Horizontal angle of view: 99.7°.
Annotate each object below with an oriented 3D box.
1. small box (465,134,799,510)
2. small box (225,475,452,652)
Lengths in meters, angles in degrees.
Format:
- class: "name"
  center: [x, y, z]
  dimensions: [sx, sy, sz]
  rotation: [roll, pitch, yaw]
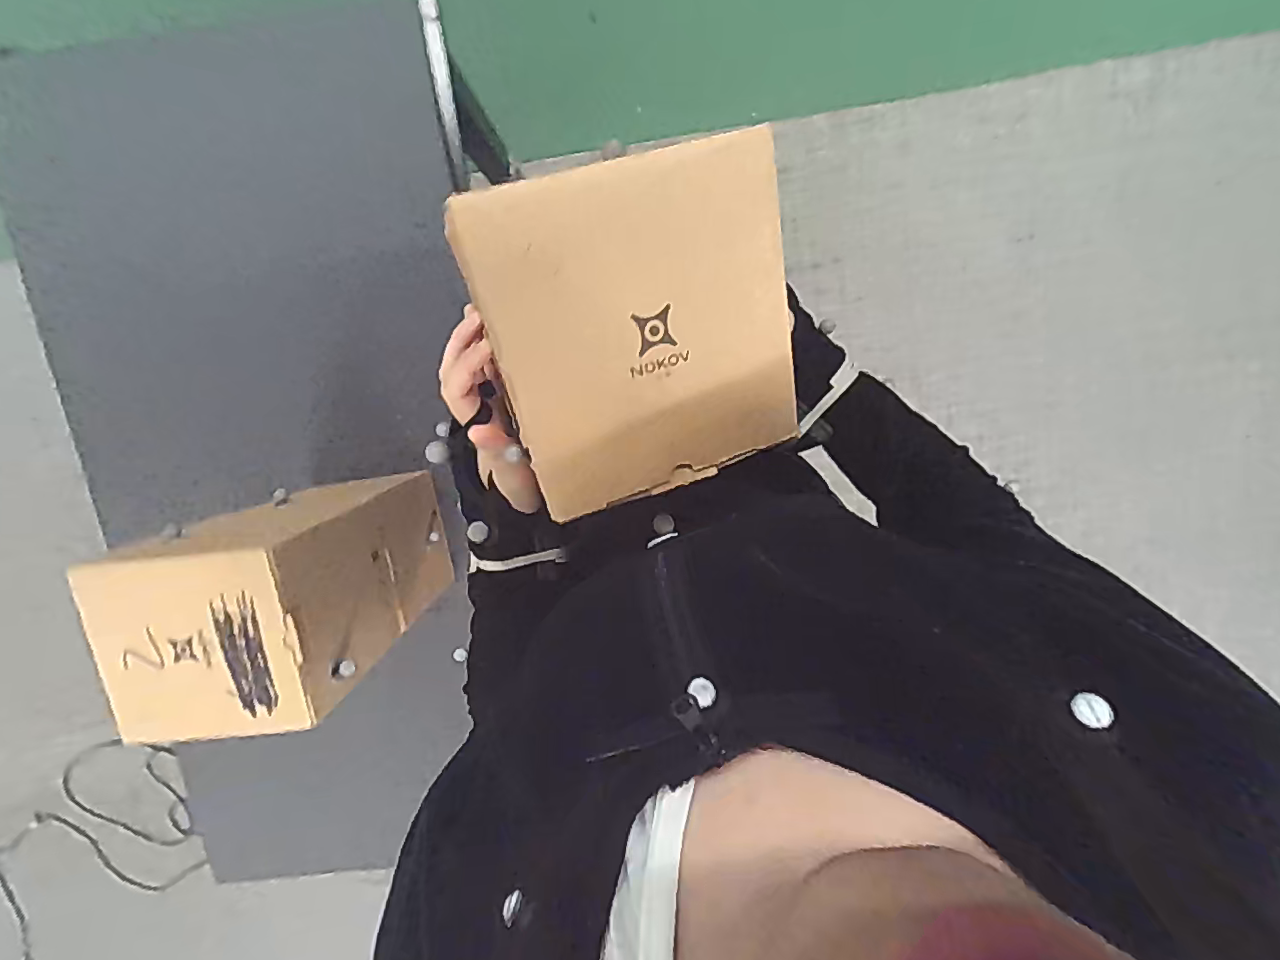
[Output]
- class: "small box"
  center: [-0.013, -0.109, 0.371]
  dimensions: [0.168, 0.176, 0.179]
  rotation: [-18, 116, -12]
- class: "small box"
  center: [-0.368, 0.097, 0.695]
  dimensions: [0.179, 0.176, 0.168]
  rotation: [-9, 102, 2]
